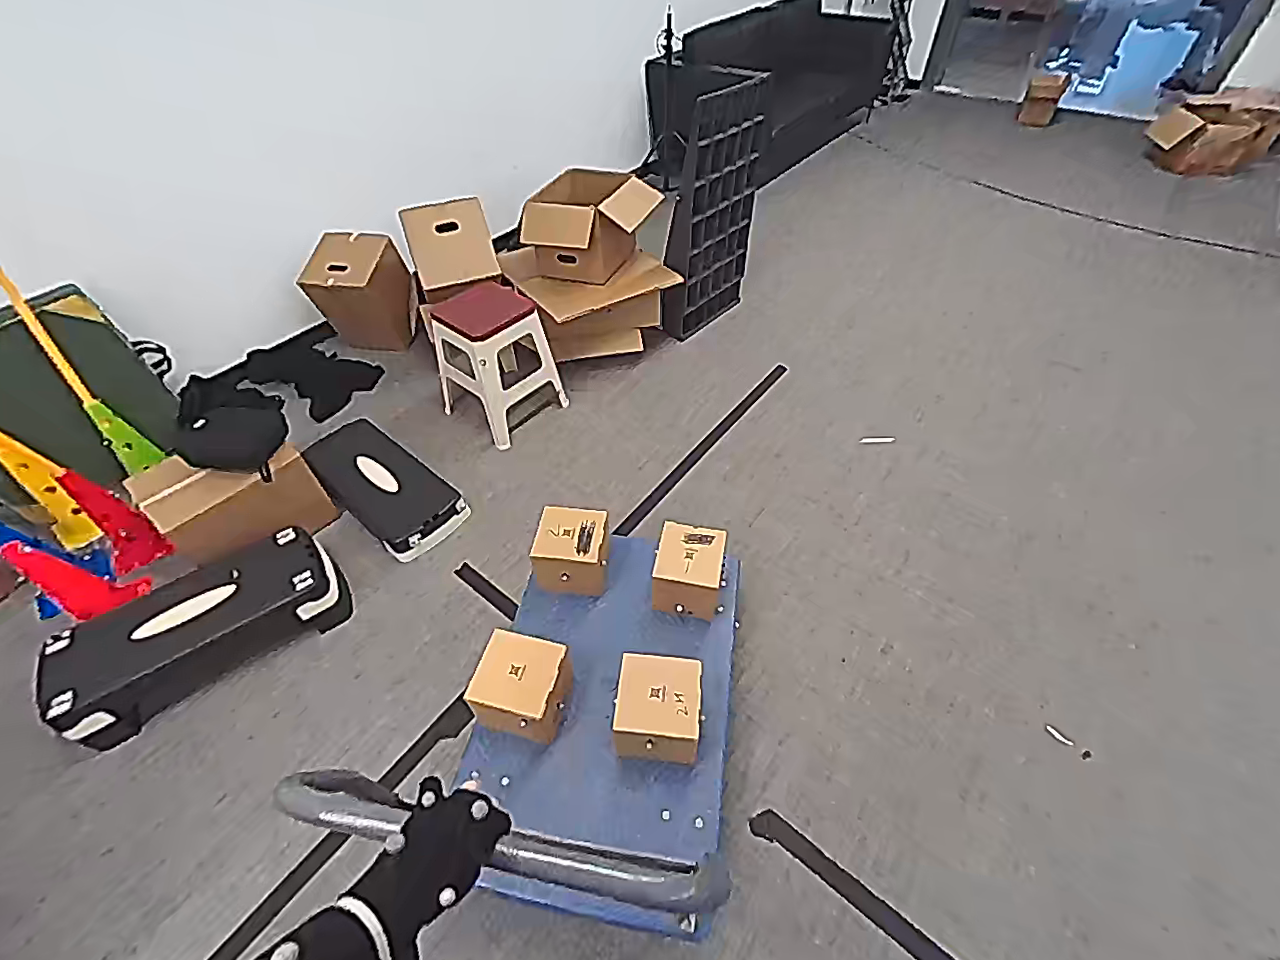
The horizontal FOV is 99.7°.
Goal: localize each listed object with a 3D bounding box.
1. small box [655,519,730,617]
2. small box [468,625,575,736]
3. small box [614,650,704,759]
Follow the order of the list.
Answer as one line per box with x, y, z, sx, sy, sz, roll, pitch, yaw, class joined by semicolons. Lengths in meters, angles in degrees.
0.135;0.233;1.421;0.168;0.176;0.179;9;50;9;small box
-0.259;0.459;1.226;0.179;0.176;0.168;11;49;9;small box
0.045;0.494;1.186;0.179;0.176;0.168;5;48;6;small box
